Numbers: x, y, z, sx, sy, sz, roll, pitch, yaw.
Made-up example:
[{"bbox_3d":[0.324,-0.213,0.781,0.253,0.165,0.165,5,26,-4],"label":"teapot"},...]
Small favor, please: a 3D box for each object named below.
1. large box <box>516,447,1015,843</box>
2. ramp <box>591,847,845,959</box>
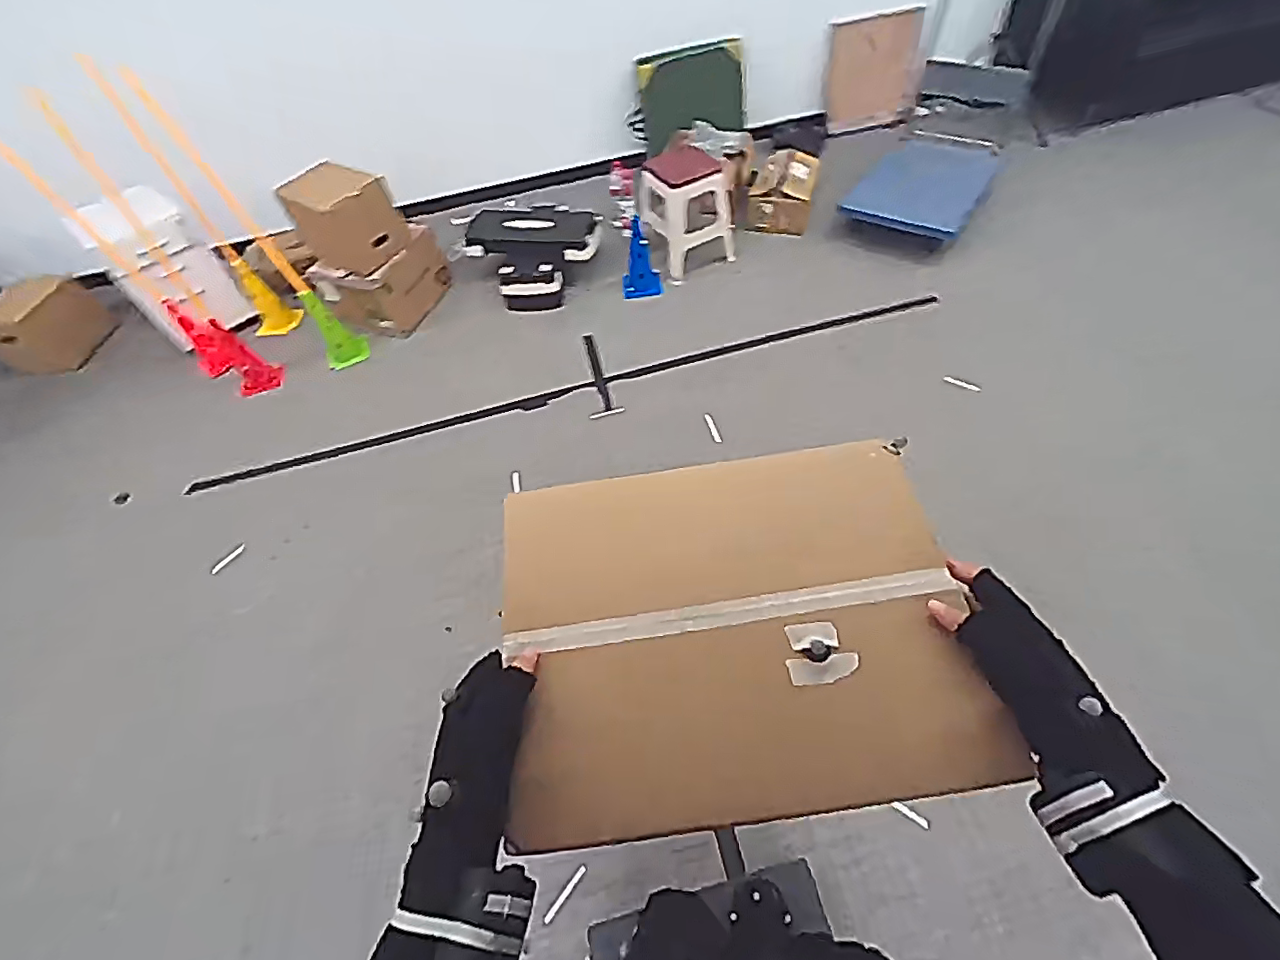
[{"bbox_3d":[0.093,0.199,0.627,0.408,0.320,0.320,-8,60,0],"label":"large box"},{"bbox_3d":[0.264,1.289,0.949,0.509,0.206,0.991,-16,54,-6],"label":"ramp"}]
